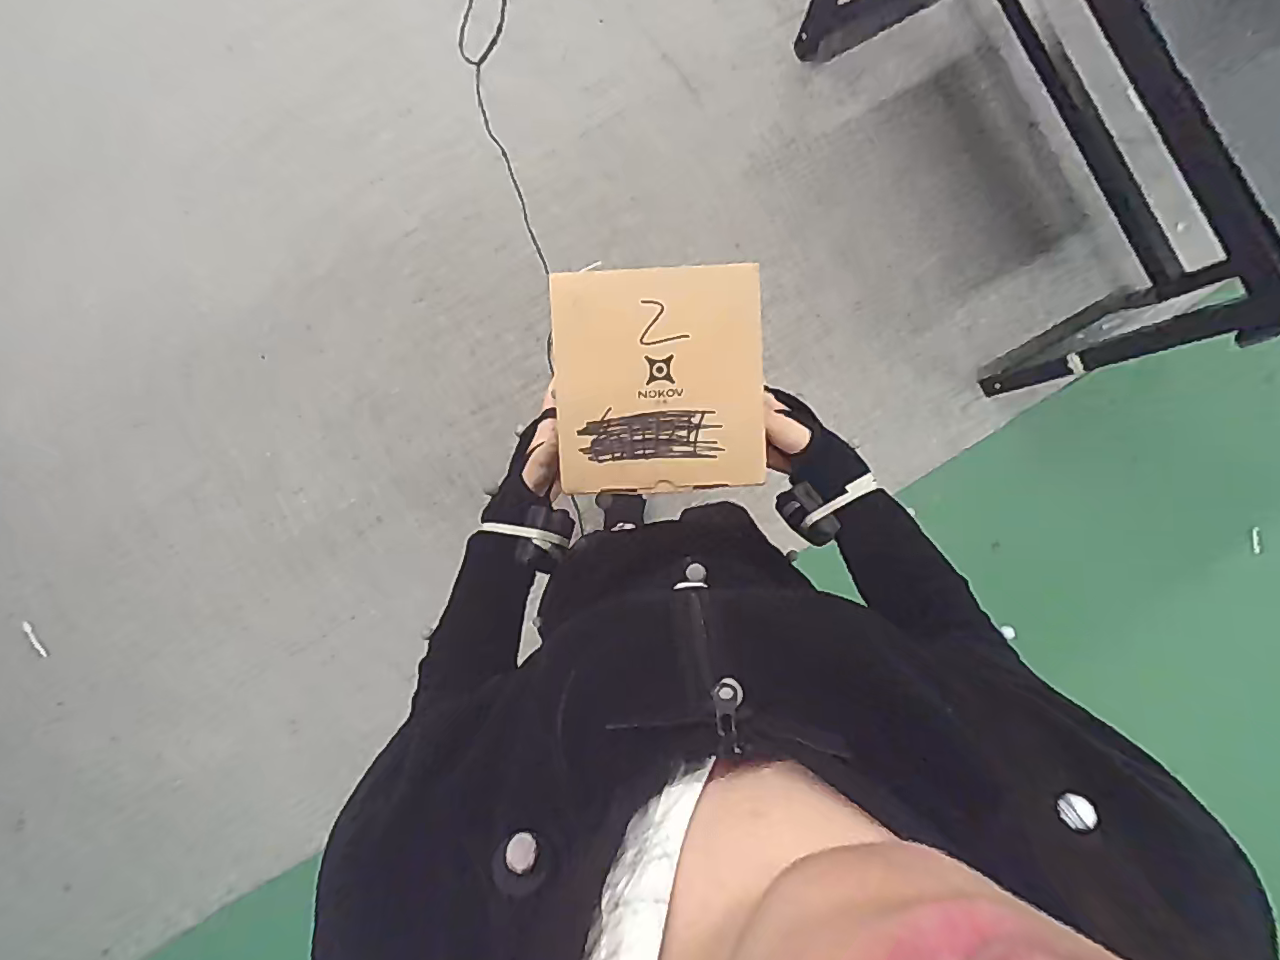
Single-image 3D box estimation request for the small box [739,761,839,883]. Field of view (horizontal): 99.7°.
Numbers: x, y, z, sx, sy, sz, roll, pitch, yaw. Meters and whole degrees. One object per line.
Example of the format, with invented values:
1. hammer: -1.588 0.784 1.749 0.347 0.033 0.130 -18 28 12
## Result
1. small box: 0.383 0.888 1.422 0.168 0.176 0.179 -29 89 -4
